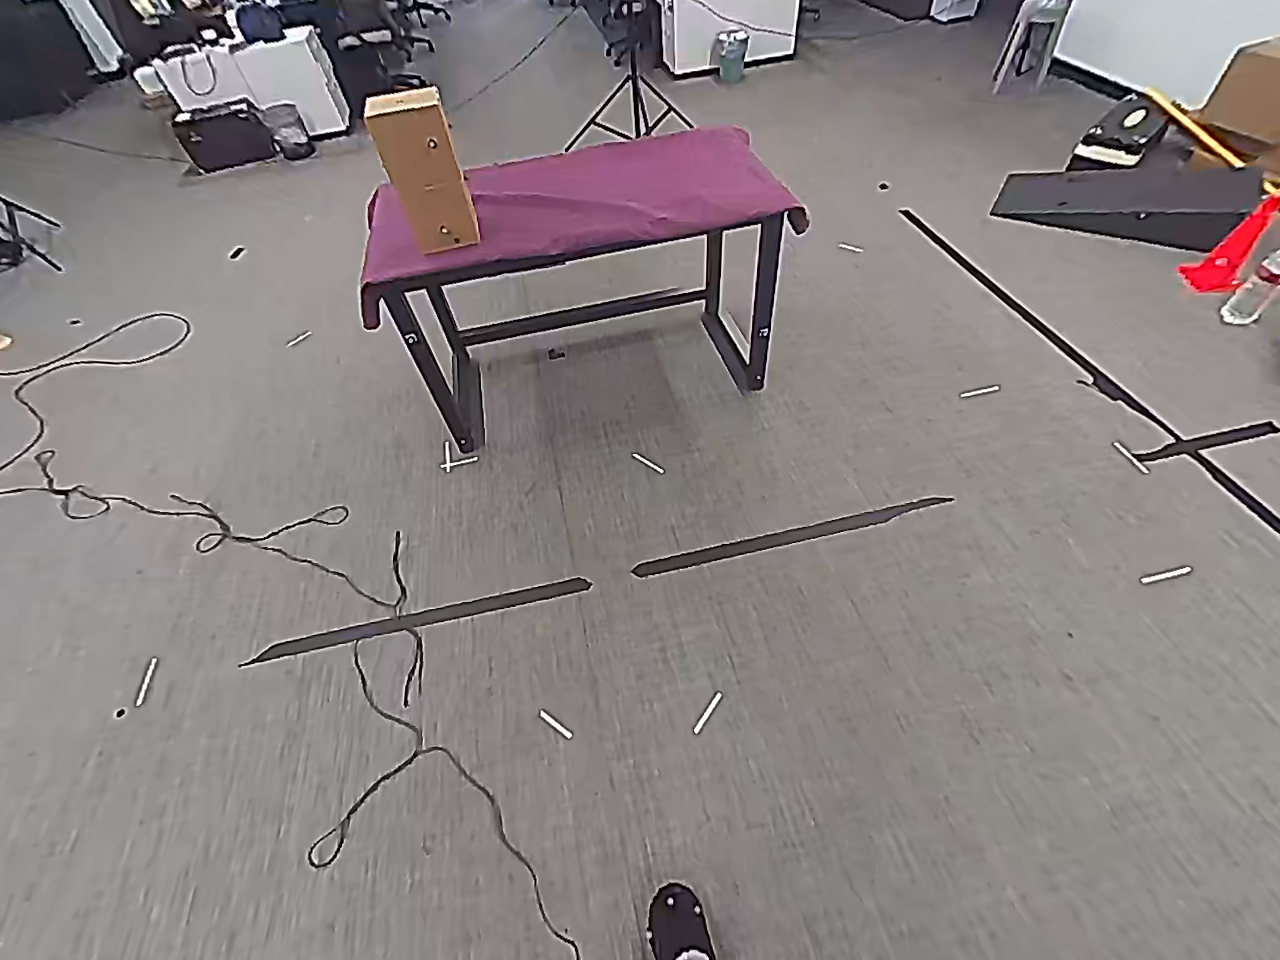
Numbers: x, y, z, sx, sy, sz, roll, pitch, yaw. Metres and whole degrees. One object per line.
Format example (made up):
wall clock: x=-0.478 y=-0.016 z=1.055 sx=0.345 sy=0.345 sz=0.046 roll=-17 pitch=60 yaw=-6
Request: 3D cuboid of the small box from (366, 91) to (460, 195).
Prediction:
small box: x=-0.568 y=-0.854 z=1.375 sx=0.179 sy=0.176 sz=0.168 roll=-16 pitch=50 yaw=-6

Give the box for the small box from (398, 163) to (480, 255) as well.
small box: x=-0.553 y=-0.752 z=1.500 sx=0.168 sy=0.176 sz=0.179 roll=-15 pitch=51 yaw=-6
